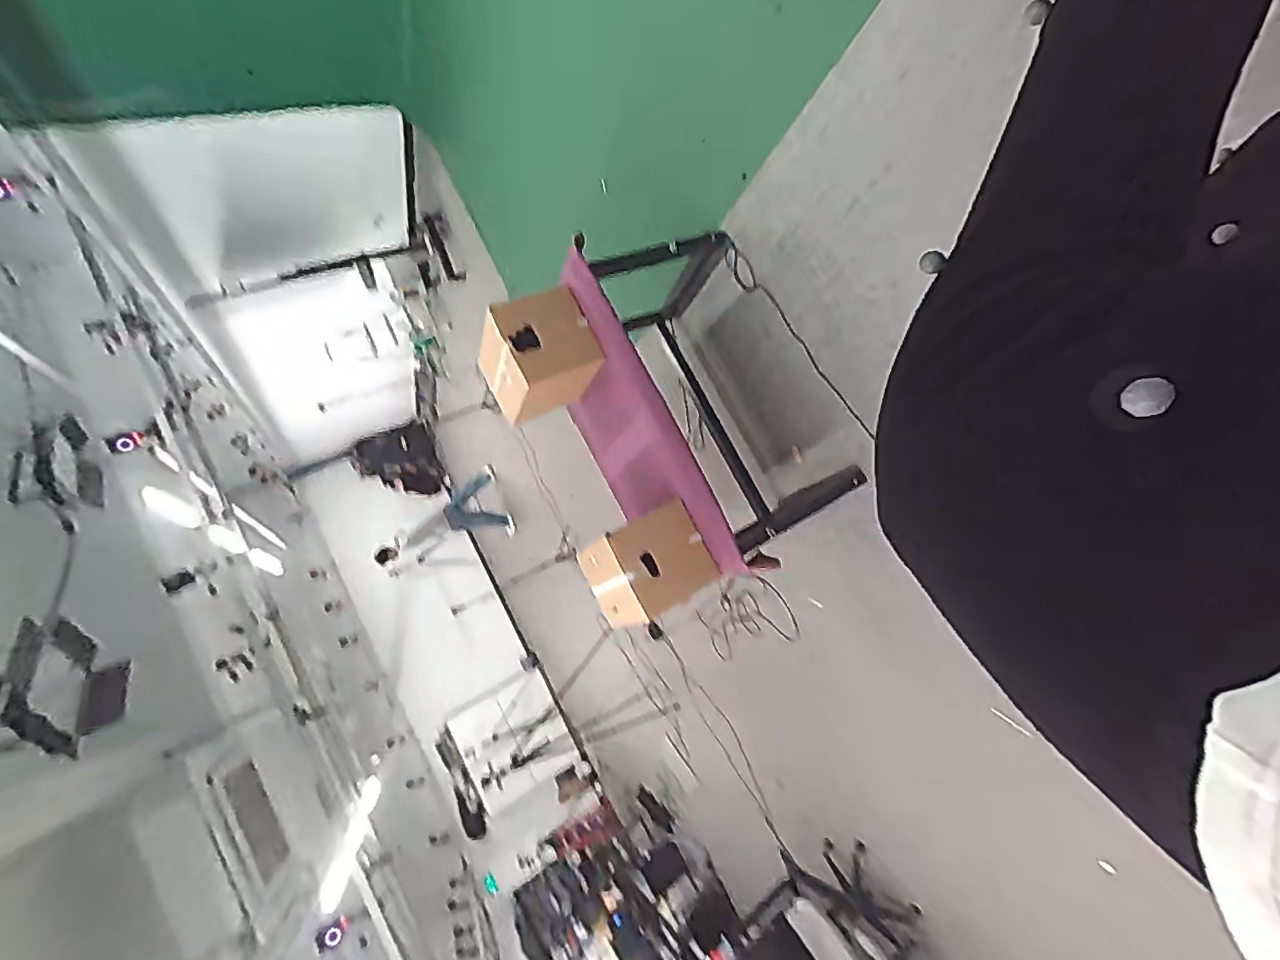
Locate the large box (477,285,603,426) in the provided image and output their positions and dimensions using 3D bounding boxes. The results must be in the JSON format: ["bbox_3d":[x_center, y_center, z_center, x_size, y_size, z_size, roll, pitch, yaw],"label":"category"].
[{"bbox_3d":[-0.383,-0.454,2.018,0.320,0.320,0.408,61,153,4],"label":"large box"}]
